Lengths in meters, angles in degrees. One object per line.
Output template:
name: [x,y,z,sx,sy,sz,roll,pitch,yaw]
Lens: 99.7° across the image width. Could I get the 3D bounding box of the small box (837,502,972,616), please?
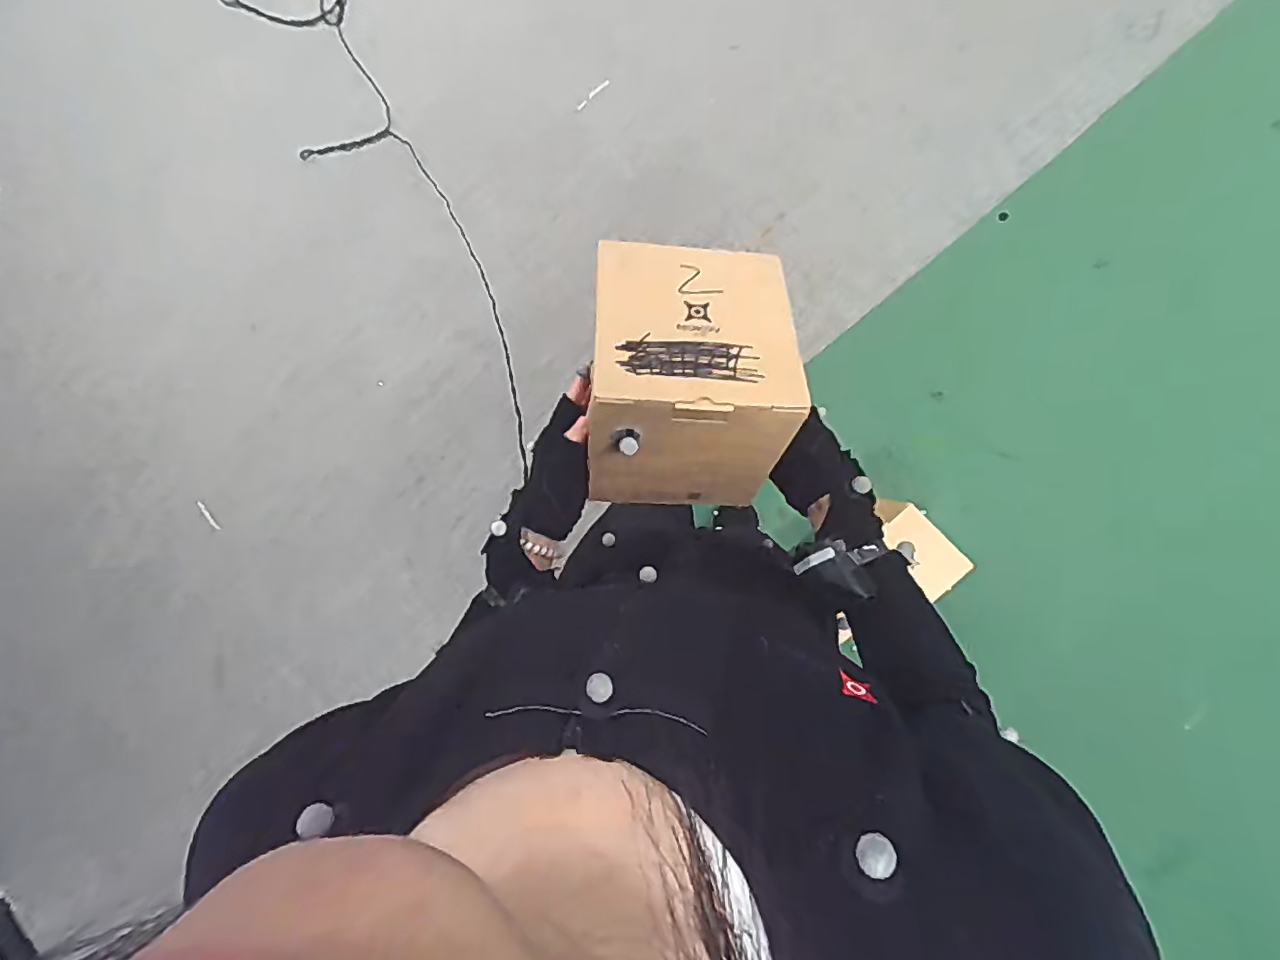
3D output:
small box: [0.558,0.160,1.169,0.168,0.176,0.179,-44,83,6]
